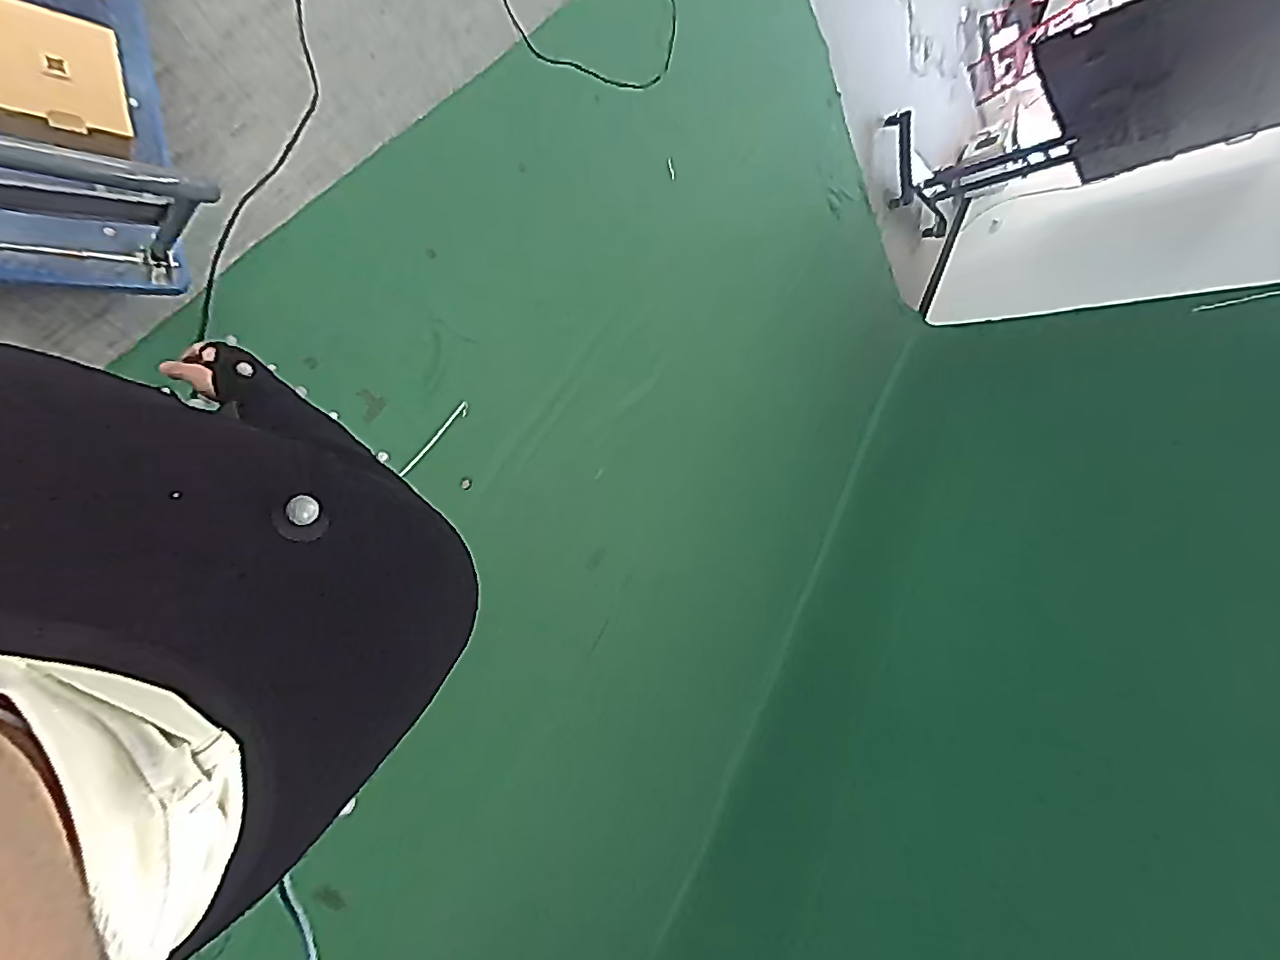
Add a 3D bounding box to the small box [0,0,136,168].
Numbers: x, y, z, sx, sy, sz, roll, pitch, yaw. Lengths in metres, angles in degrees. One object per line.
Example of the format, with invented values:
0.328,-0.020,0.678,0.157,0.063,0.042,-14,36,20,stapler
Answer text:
-1.009,-0.679,0.940,0.168,0.176,0.179,-12,103,-44,small box
